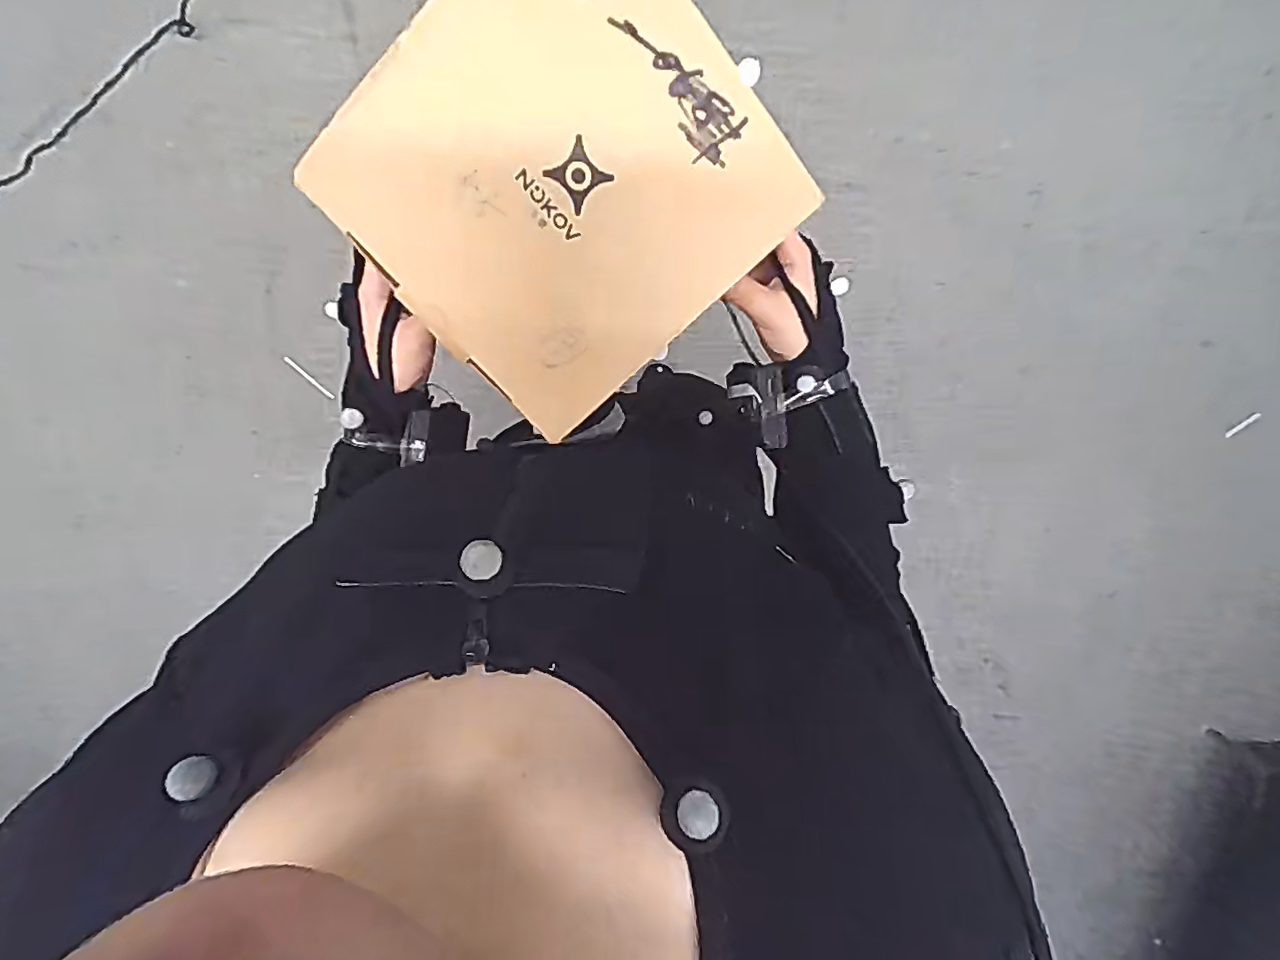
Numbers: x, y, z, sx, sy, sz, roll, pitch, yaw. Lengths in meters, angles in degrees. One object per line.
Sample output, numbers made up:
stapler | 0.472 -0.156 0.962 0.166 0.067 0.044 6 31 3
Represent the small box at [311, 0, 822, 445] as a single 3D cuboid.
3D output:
small box | -0.032 -0.152 0.318 0.179 0.176 0.168 -39 106 12
